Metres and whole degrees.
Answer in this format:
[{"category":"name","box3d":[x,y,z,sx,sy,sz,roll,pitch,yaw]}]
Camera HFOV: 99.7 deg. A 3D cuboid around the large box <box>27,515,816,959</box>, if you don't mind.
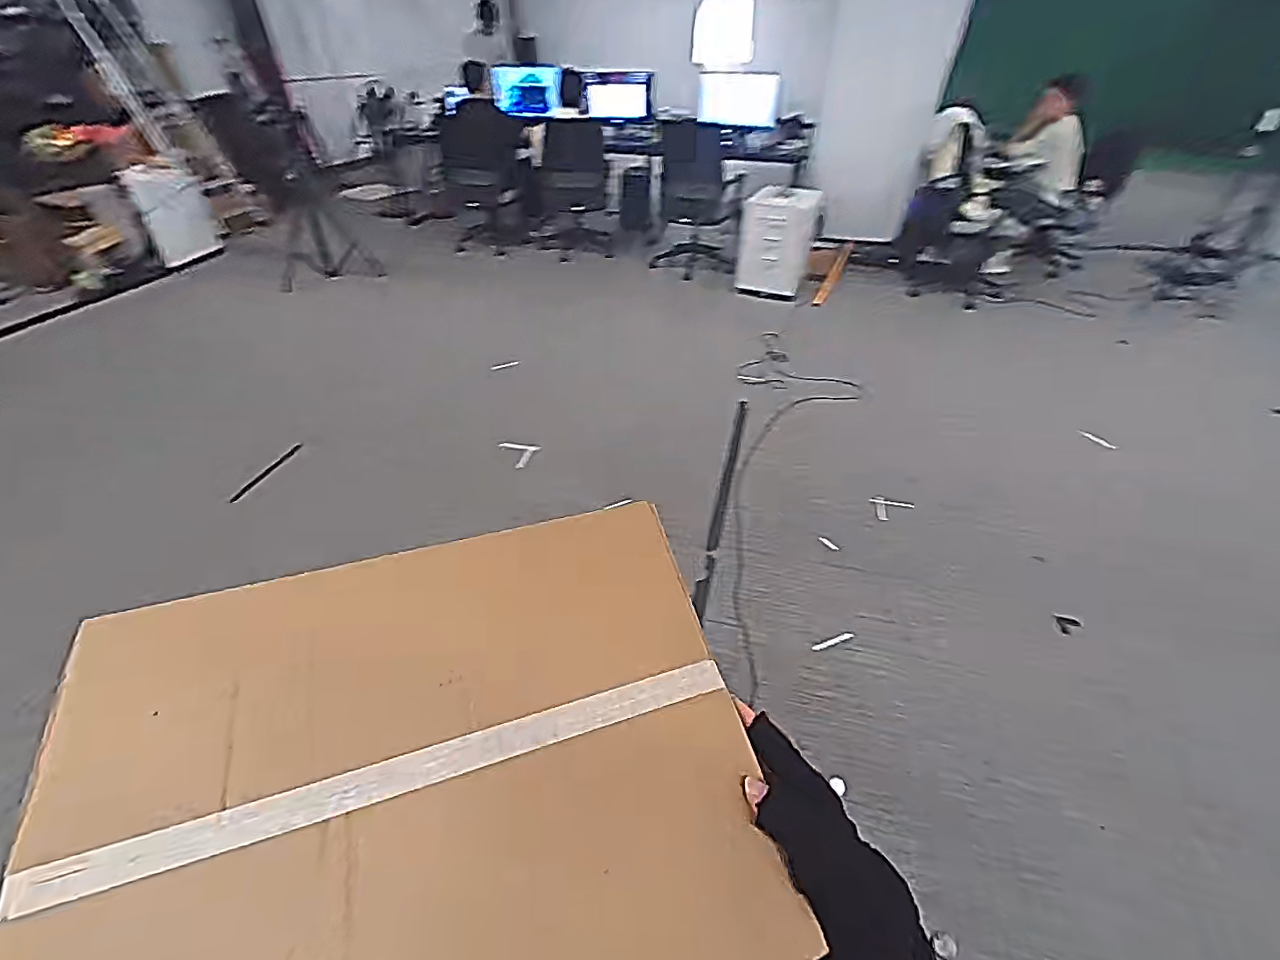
[{"category":"large box","box3d":[-0.141,0.274,0.458,0.408,0.320,0.320,-11,54,-14]}]
